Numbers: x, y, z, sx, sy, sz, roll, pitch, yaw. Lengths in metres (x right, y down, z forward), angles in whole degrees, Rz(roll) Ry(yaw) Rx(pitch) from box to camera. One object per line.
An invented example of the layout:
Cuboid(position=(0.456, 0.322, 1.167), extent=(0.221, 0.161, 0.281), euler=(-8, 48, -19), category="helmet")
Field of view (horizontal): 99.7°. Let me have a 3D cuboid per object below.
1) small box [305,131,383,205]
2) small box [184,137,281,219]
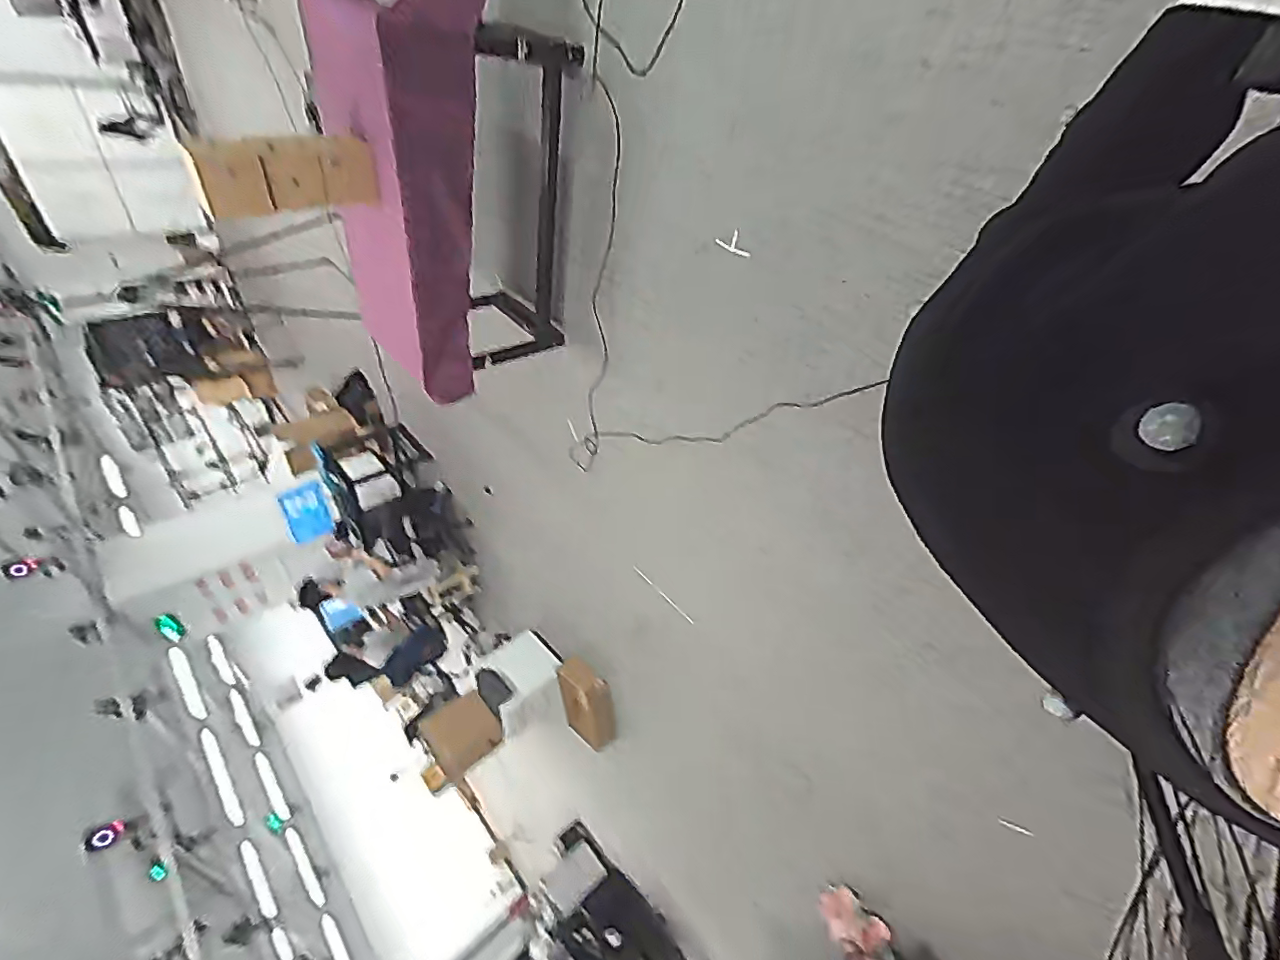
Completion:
Cuboid(position=(-0.993, -1.054, 1.823), extent=(0.168, 0.176, 0.179), euler=(43, 140, 28), category="small box")
Cuboid(position=(-1.227, -0.917, 1.638), extent=(0.168, 0.176, 0.179), euler=(43, 140, 28), category="small box")
